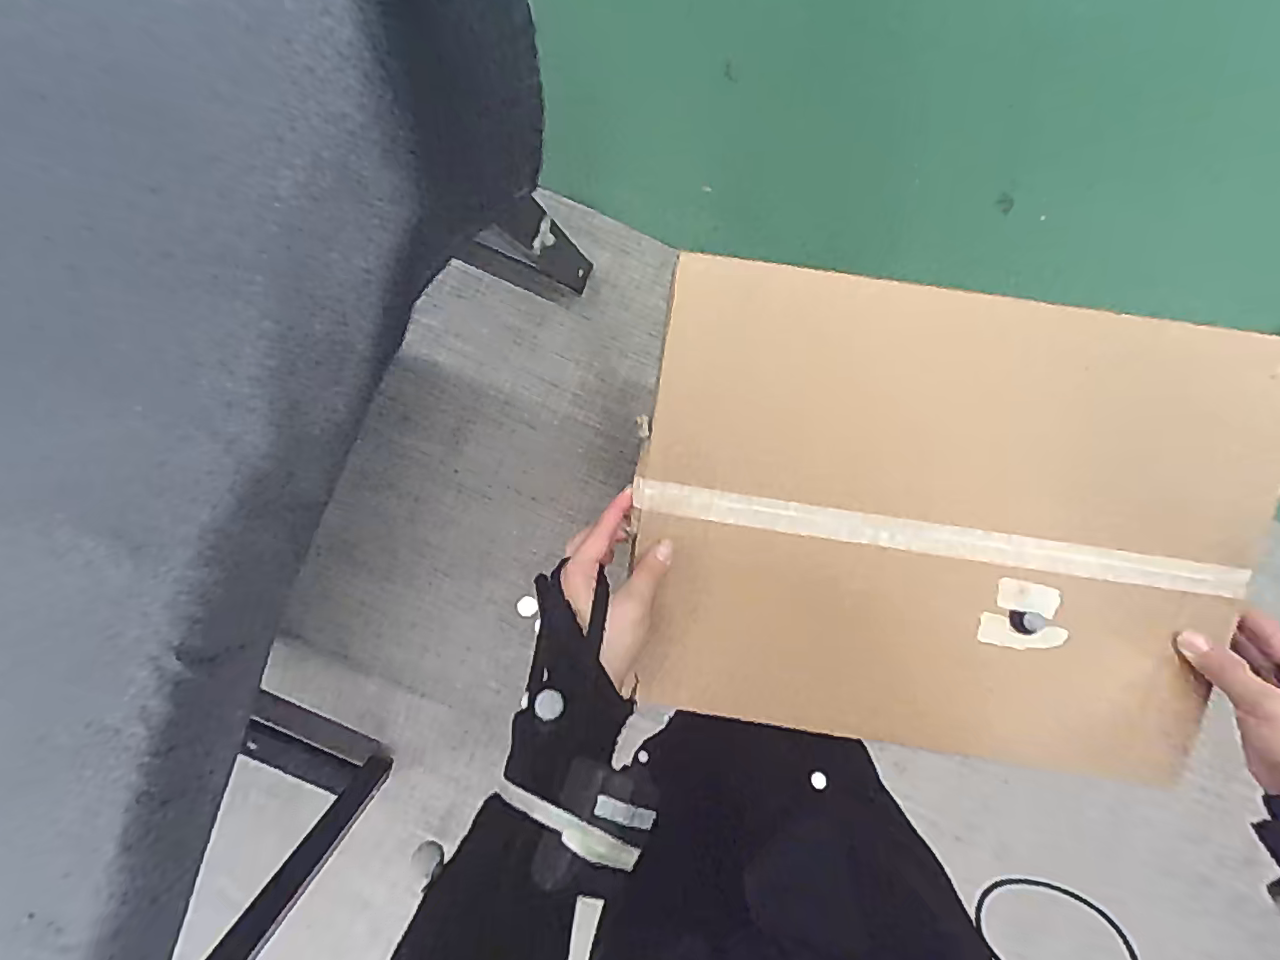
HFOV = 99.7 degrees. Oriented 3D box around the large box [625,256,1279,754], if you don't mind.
[{"bbox_3d":[0.205,0.005,0.517,0.408,0.320,0.320,8,100,1],"label":"large box"}]
